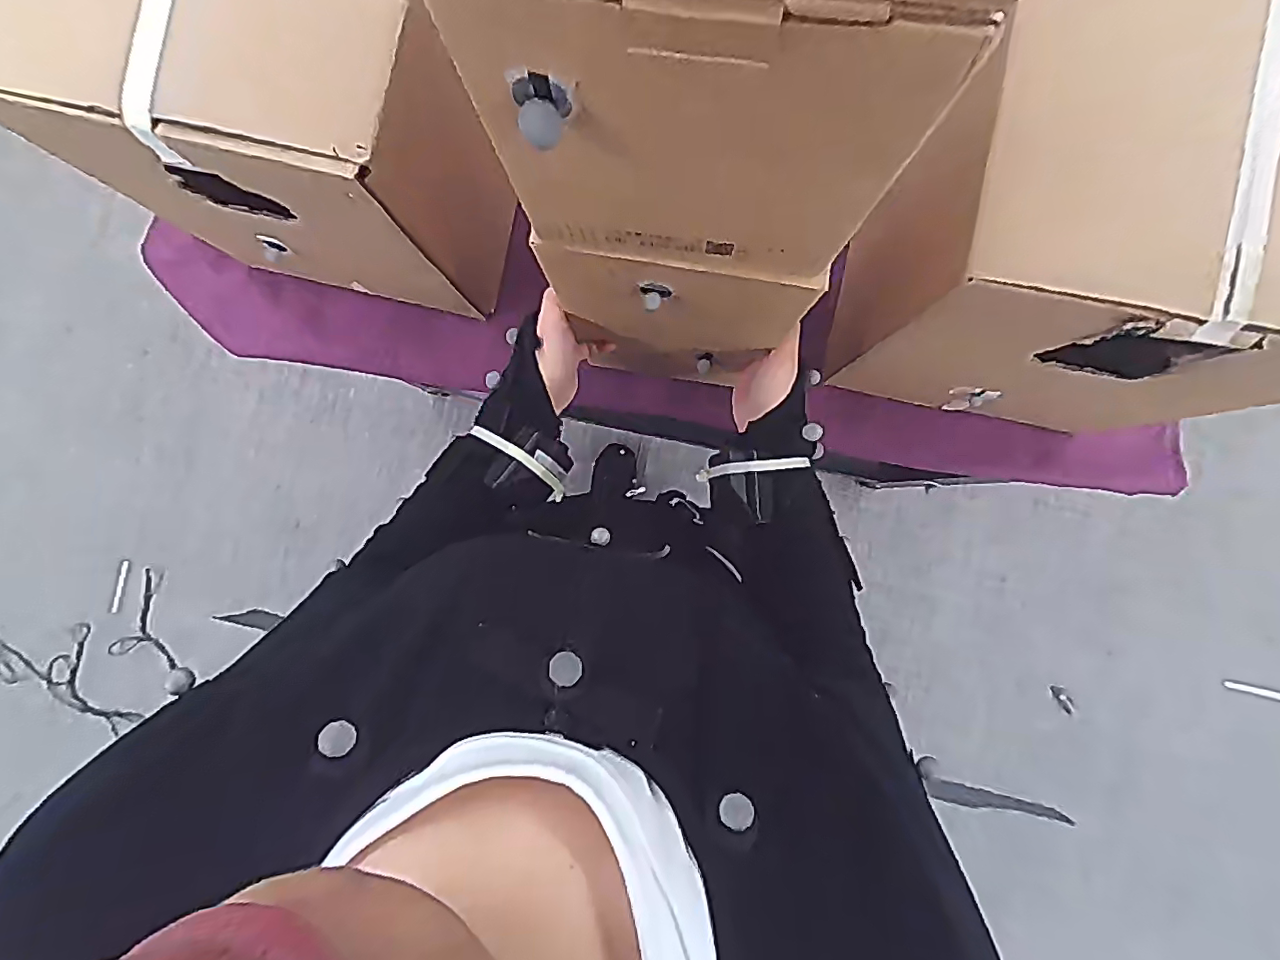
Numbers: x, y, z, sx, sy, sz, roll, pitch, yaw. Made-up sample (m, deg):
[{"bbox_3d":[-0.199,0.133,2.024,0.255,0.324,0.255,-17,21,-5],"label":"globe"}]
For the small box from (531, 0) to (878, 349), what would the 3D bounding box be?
[{"bbox_3d":[0.038,-0.202,0.386,0.179,0.176,0.168,9,90,1],"label":"small box"}]

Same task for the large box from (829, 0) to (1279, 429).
[{"bbox_3d":[0.397,-0.284,0.494,0.320,0.320,0.408,11,87,2],"label":"large box"}]
